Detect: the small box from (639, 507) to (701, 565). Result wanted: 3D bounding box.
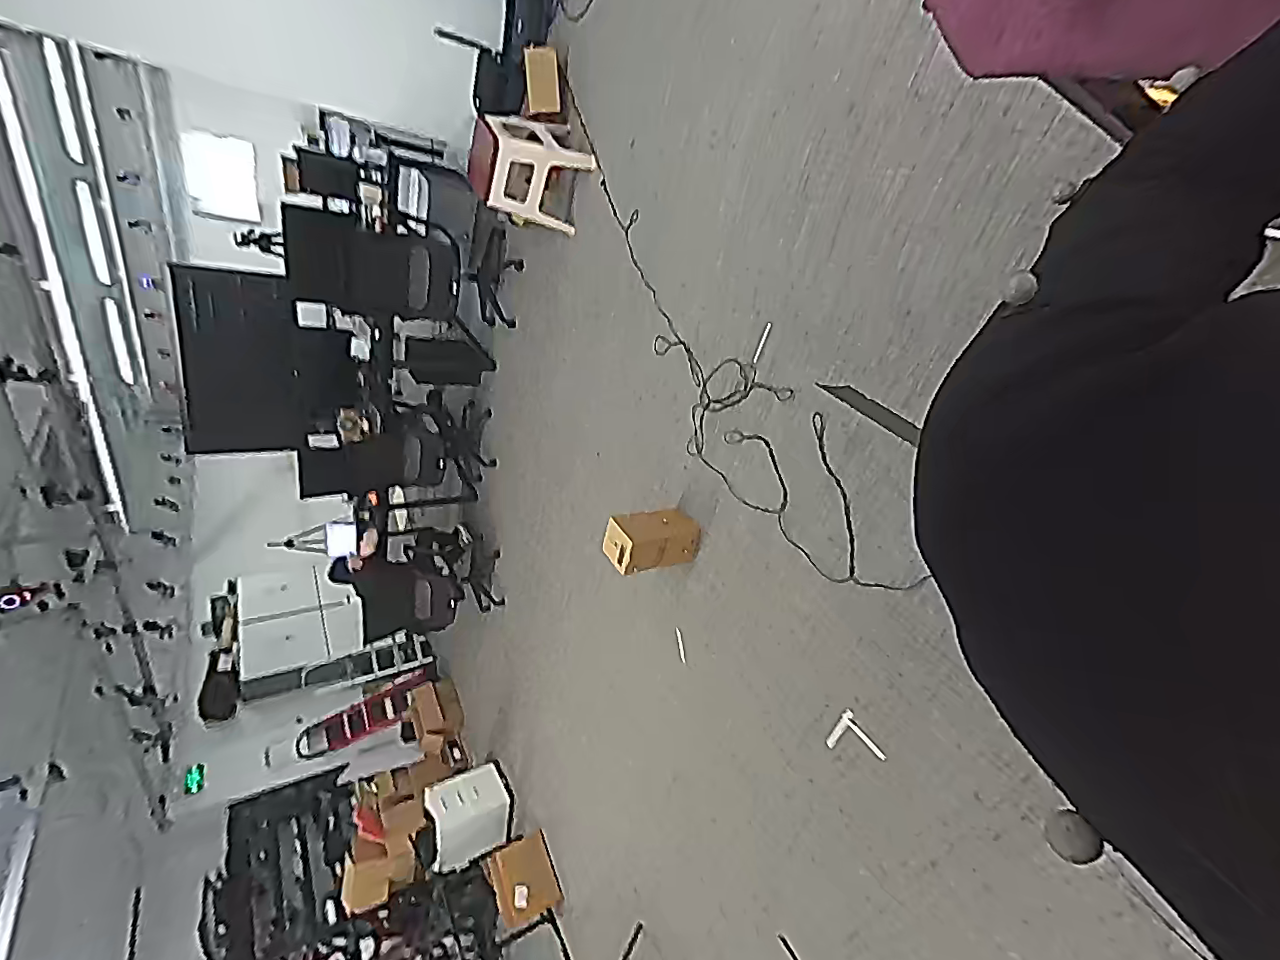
[{"bbox_3d":[0.122,0.224,2.223,0.179,0.176,0.168,40,127,44],"label":"small box"}]
